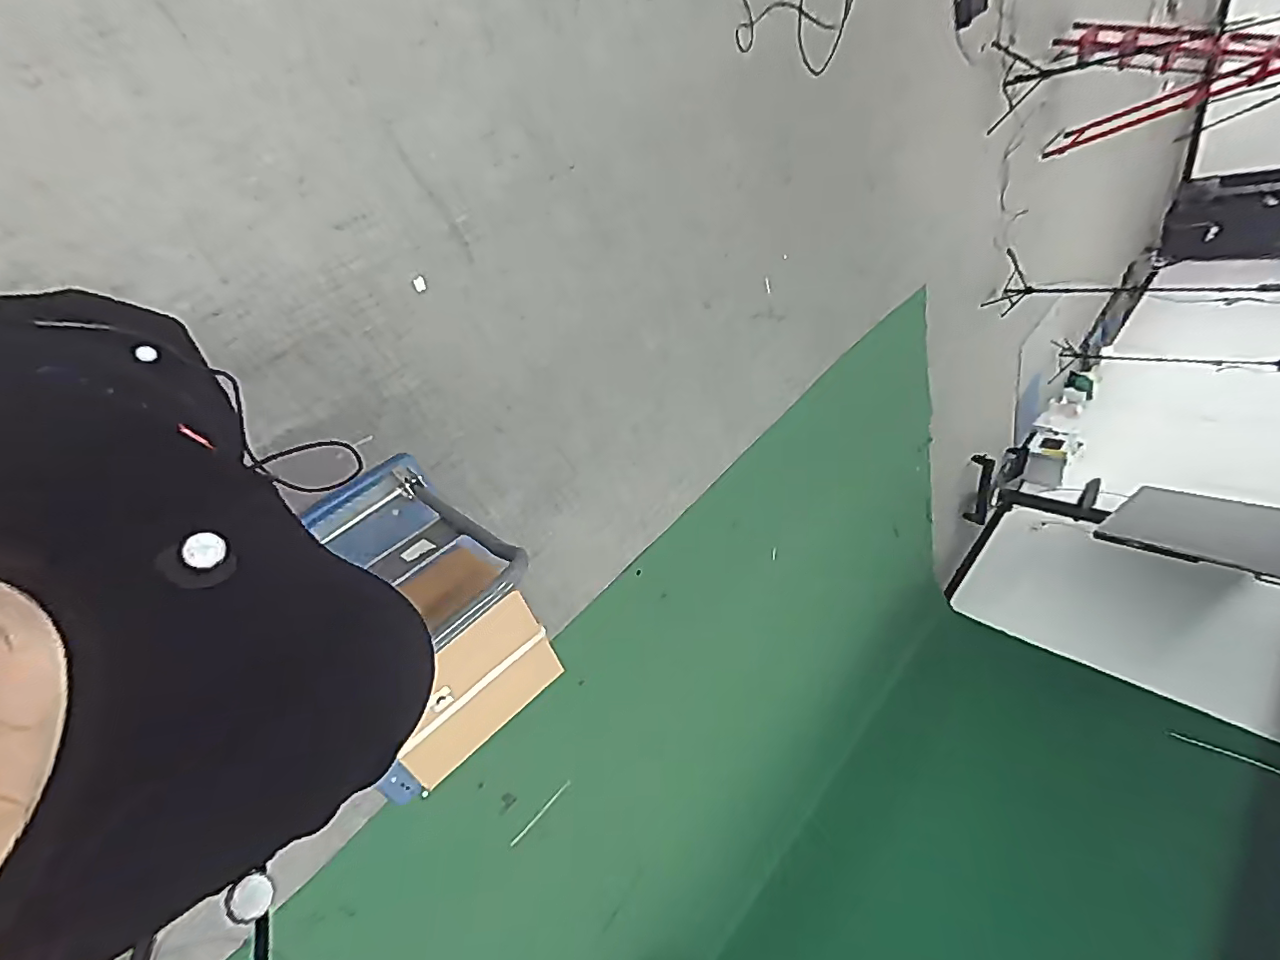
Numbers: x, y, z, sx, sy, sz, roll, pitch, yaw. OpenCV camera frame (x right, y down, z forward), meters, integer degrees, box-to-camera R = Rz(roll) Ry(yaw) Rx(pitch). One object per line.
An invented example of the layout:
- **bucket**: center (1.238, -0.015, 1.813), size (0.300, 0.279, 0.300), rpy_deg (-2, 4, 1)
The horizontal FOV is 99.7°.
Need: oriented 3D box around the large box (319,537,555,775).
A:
- **large box**: center (-0.497, 0.413, 1.353), size (0.408, 0.320, 0.320), rpy_deg (-37, 125, -26)
